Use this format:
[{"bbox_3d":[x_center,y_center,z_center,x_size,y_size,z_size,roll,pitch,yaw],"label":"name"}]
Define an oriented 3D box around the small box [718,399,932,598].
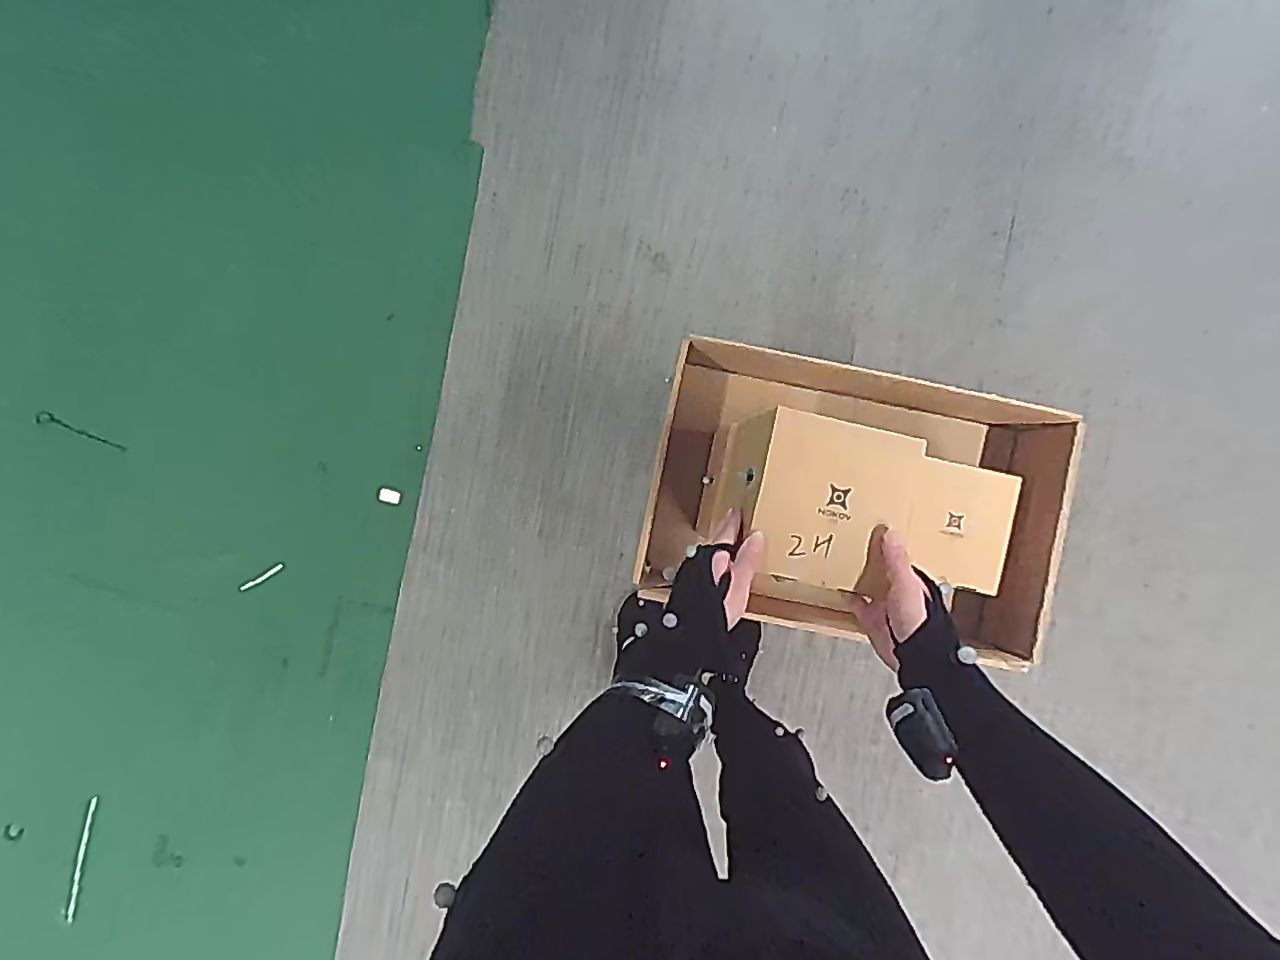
[{"bbox_3d":[0.200,0.019,0.634,0.168,0.176,0.179,13,90,-4],"label":"small box"}]
